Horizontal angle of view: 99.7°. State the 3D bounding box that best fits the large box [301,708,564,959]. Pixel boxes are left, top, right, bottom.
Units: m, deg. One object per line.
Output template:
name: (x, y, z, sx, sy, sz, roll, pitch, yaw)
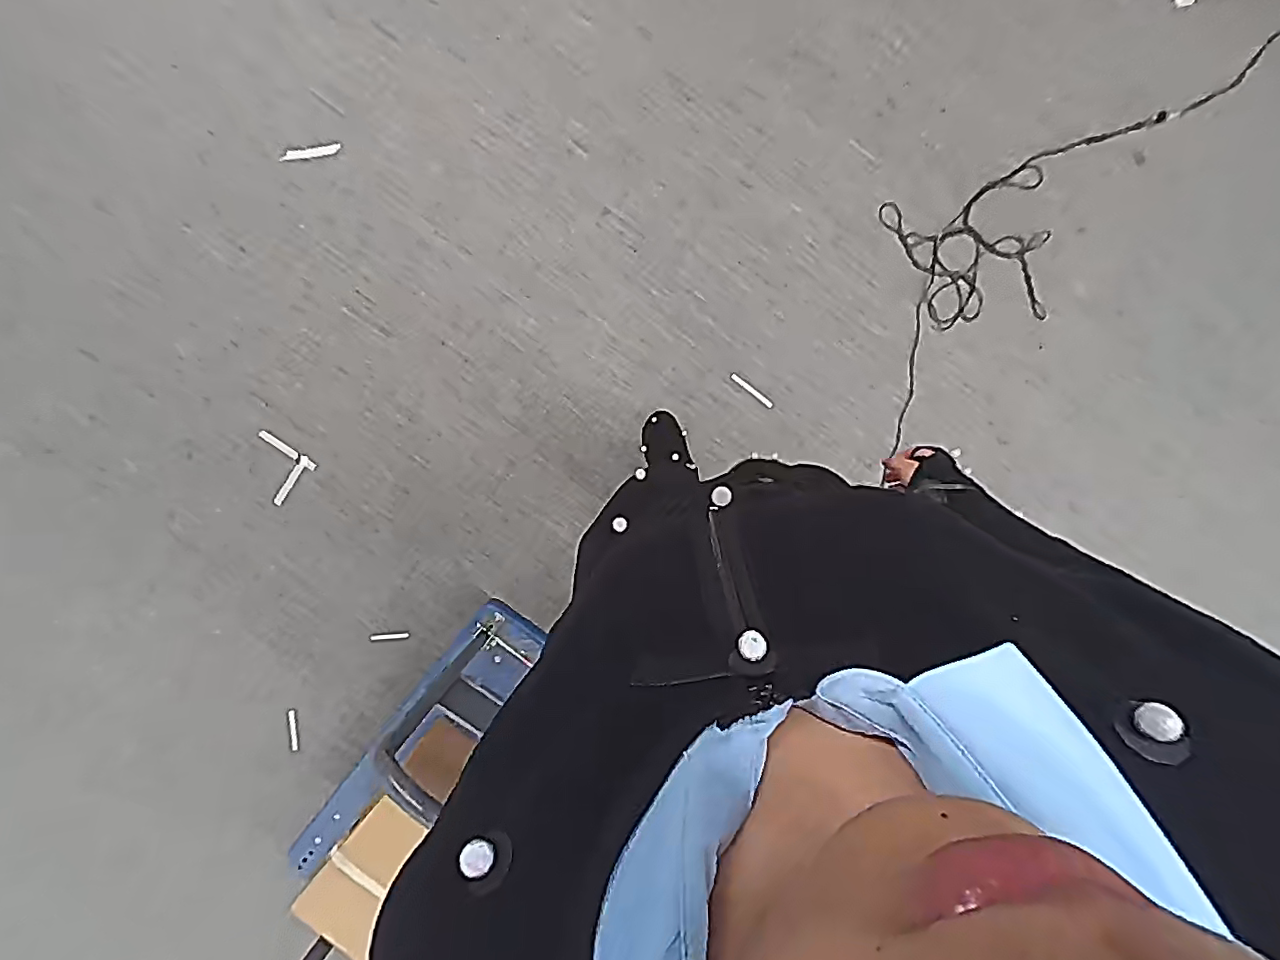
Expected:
large box: (-0.433, 0.814, 1.228, 0.408, 0.320, 0.320, 40, 93, -4)
